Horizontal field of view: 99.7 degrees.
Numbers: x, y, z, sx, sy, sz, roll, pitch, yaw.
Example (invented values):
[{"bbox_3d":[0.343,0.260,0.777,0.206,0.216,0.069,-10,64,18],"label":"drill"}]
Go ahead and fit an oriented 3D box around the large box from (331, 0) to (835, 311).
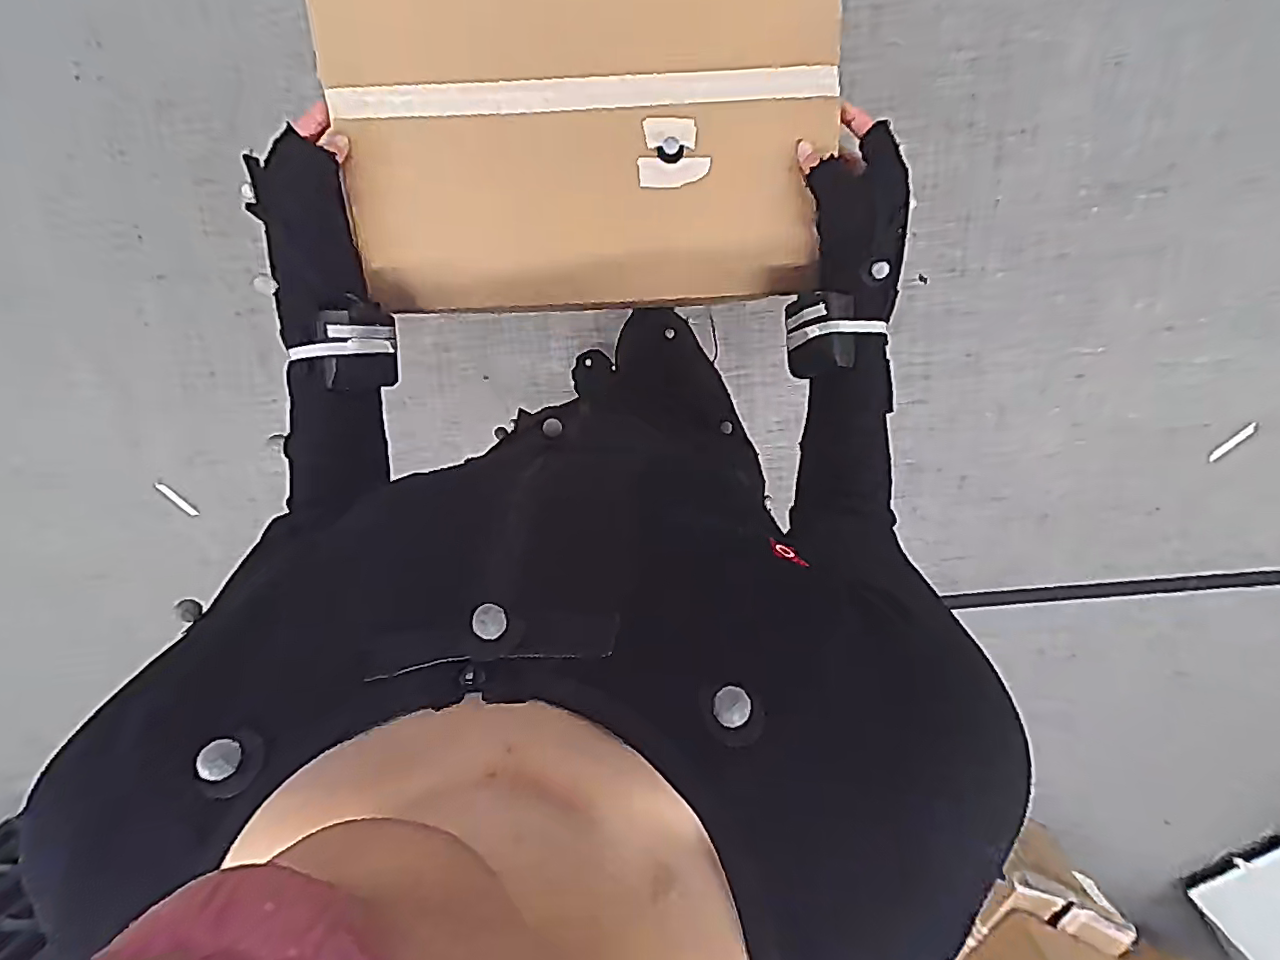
[{"bbox_3d":[-0.046,-0.359,0.585,0.408,0.320,0.320,-3,107,-1],"label":"large box"}]
